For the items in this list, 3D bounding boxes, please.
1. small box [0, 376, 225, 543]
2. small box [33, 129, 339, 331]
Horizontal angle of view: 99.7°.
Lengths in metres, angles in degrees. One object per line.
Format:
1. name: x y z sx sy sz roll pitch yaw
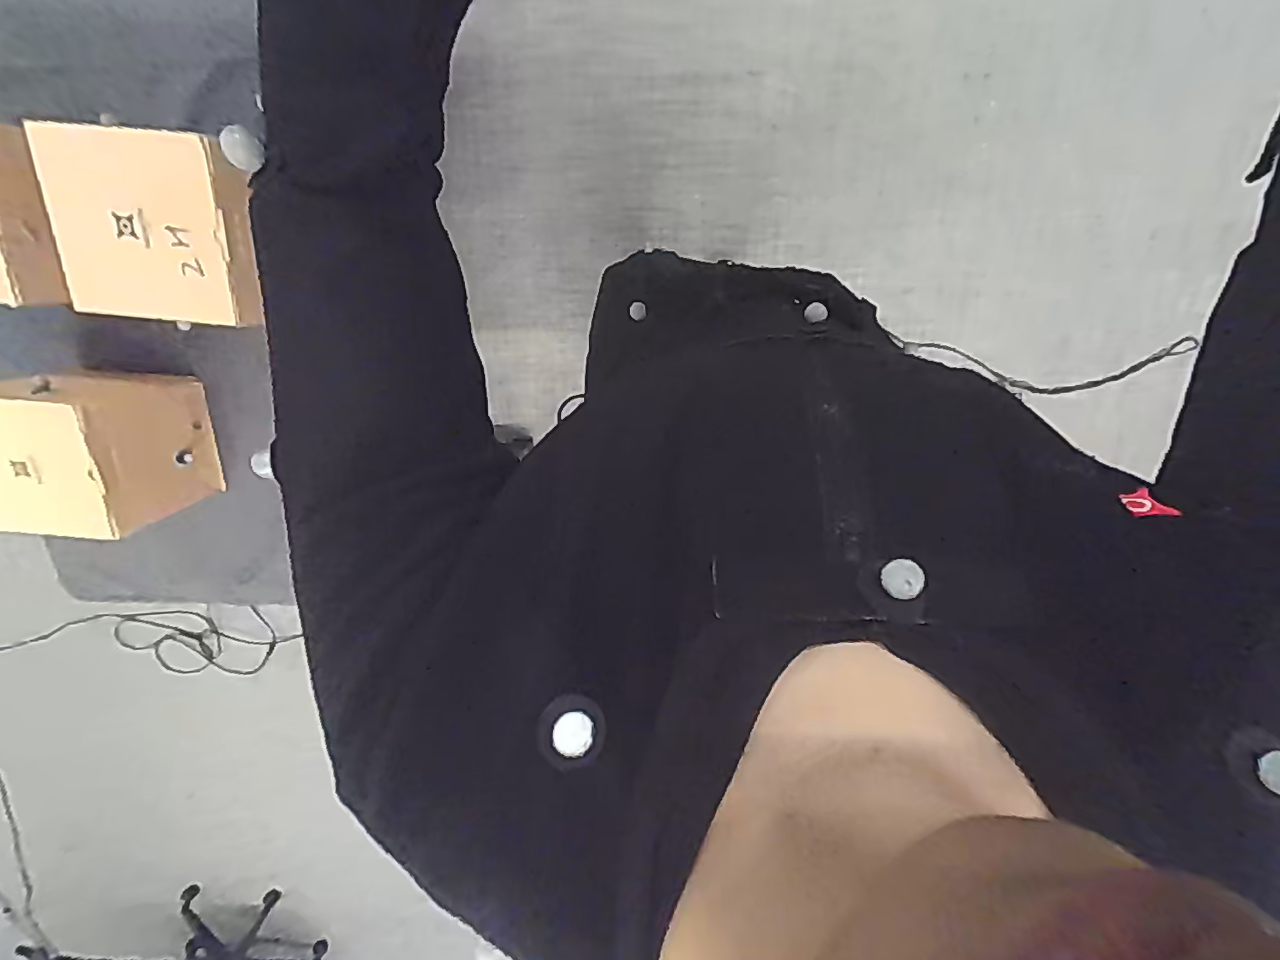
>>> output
1. small box: -0.688 -0.035 0.689 0.179 0.176 0.168 4 110 2
2. small box: -0.465 -0.260 0.587 0.179 0.176 0.168 6 111 3
